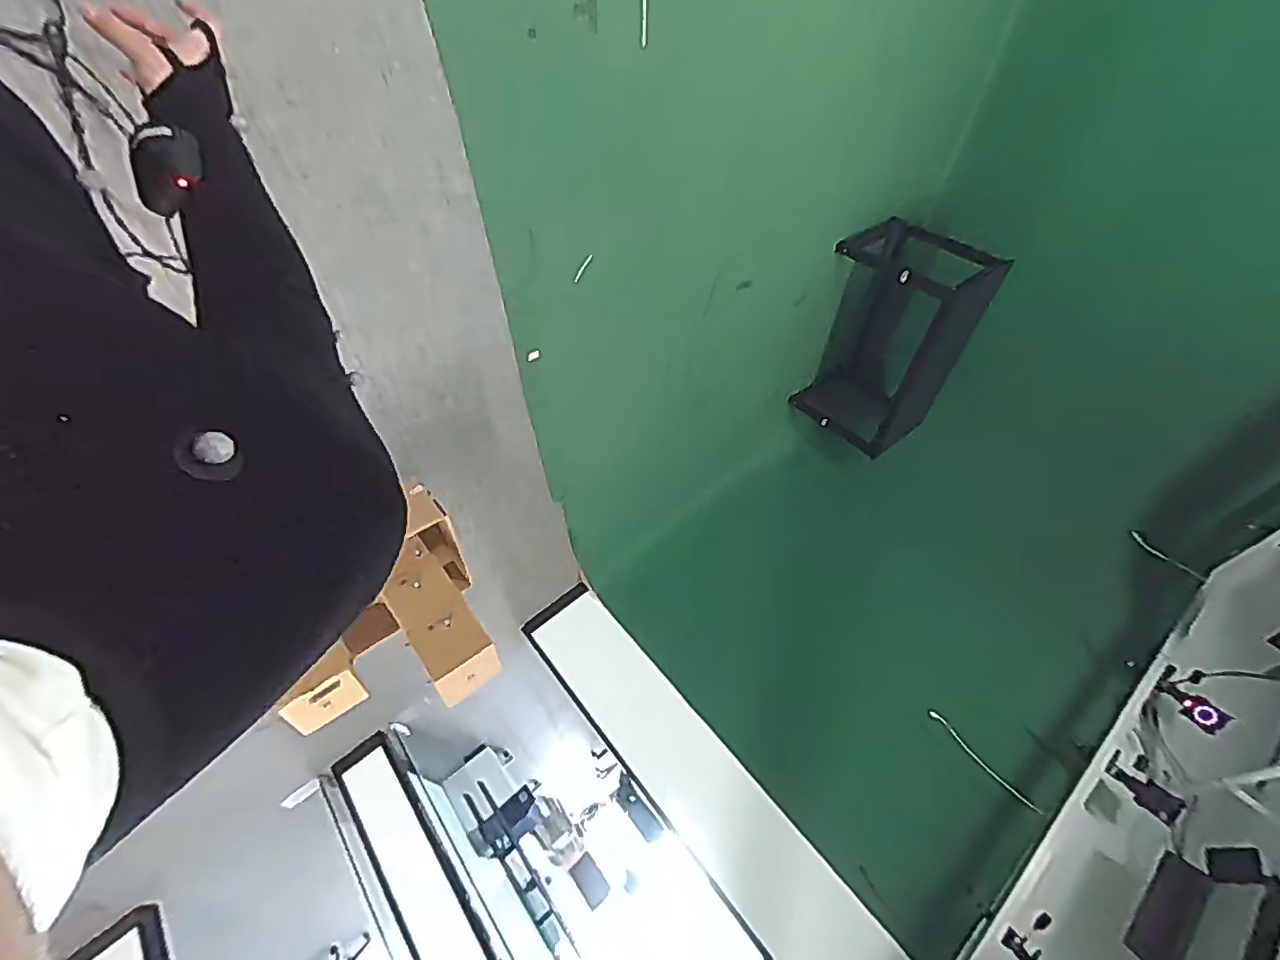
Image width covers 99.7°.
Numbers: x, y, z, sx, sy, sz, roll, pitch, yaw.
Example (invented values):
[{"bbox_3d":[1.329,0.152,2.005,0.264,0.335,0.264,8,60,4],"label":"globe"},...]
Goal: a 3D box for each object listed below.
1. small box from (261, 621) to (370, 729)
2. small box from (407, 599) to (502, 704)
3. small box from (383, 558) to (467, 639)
[{"bbox_3d":[-0.830,0.490,1.384,0.168,0.176,0.179,-29,146,-27],"label":"small box"},{"bbox_3d":[-0.490,0.450,1.436,0.168,0.176,0.179,-30,147,-28],"label":"small box"},{"bbox_3d":[-0.592,0.352,1.517,0.168,0.176,0.179,-30,146,-28],"label":"small box"}]
